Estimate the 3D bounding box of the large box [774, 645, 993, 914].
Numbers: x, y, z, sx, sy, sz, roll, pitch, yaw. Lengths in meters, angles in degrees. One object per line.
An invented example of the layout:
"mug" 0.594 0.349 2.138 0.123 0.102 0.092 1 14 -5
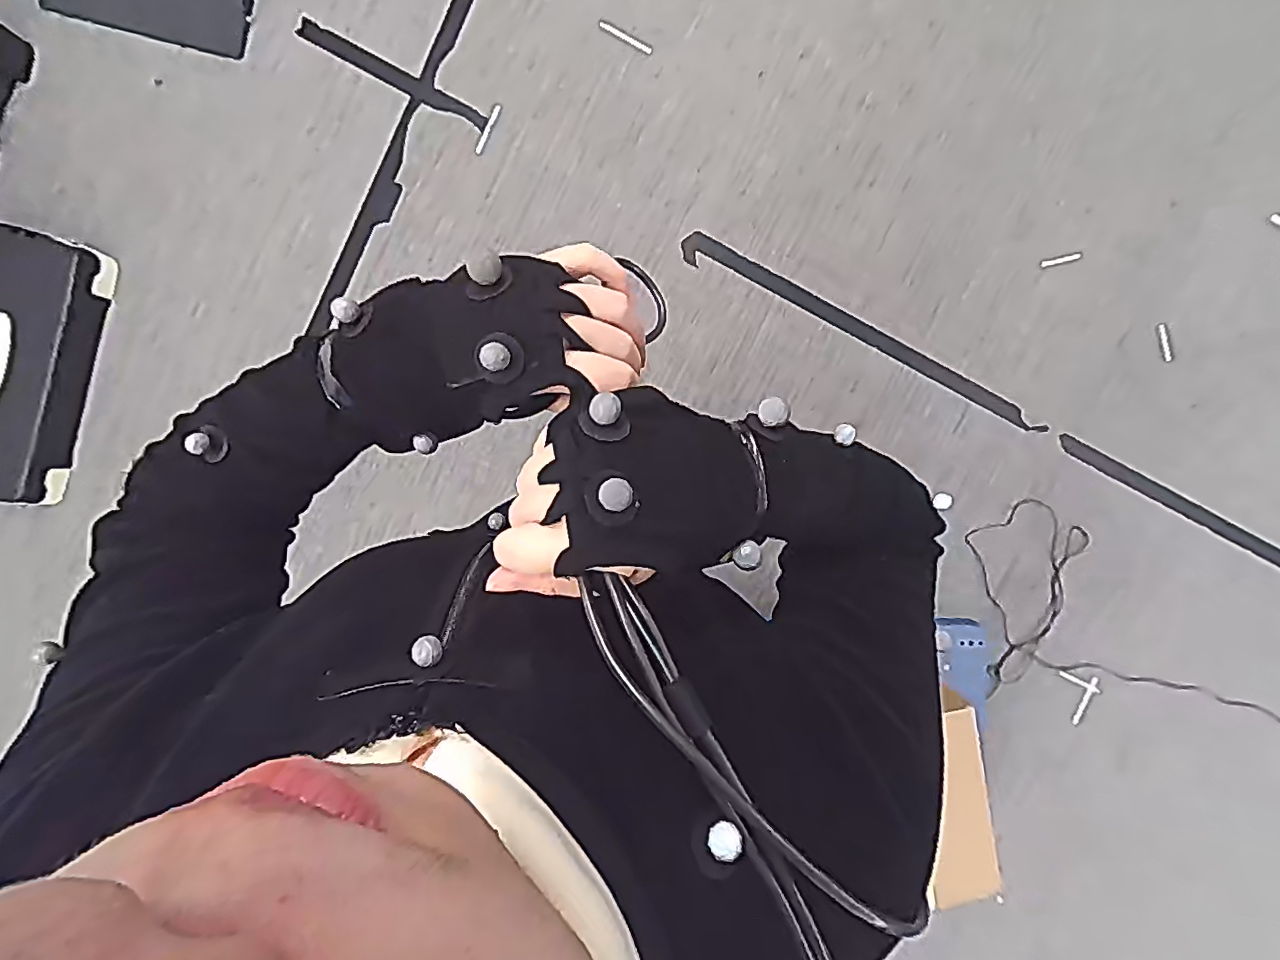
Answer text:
"large box" 0.528 0.646 1.232 0.320 0.320 0.408 -10 95 -2
